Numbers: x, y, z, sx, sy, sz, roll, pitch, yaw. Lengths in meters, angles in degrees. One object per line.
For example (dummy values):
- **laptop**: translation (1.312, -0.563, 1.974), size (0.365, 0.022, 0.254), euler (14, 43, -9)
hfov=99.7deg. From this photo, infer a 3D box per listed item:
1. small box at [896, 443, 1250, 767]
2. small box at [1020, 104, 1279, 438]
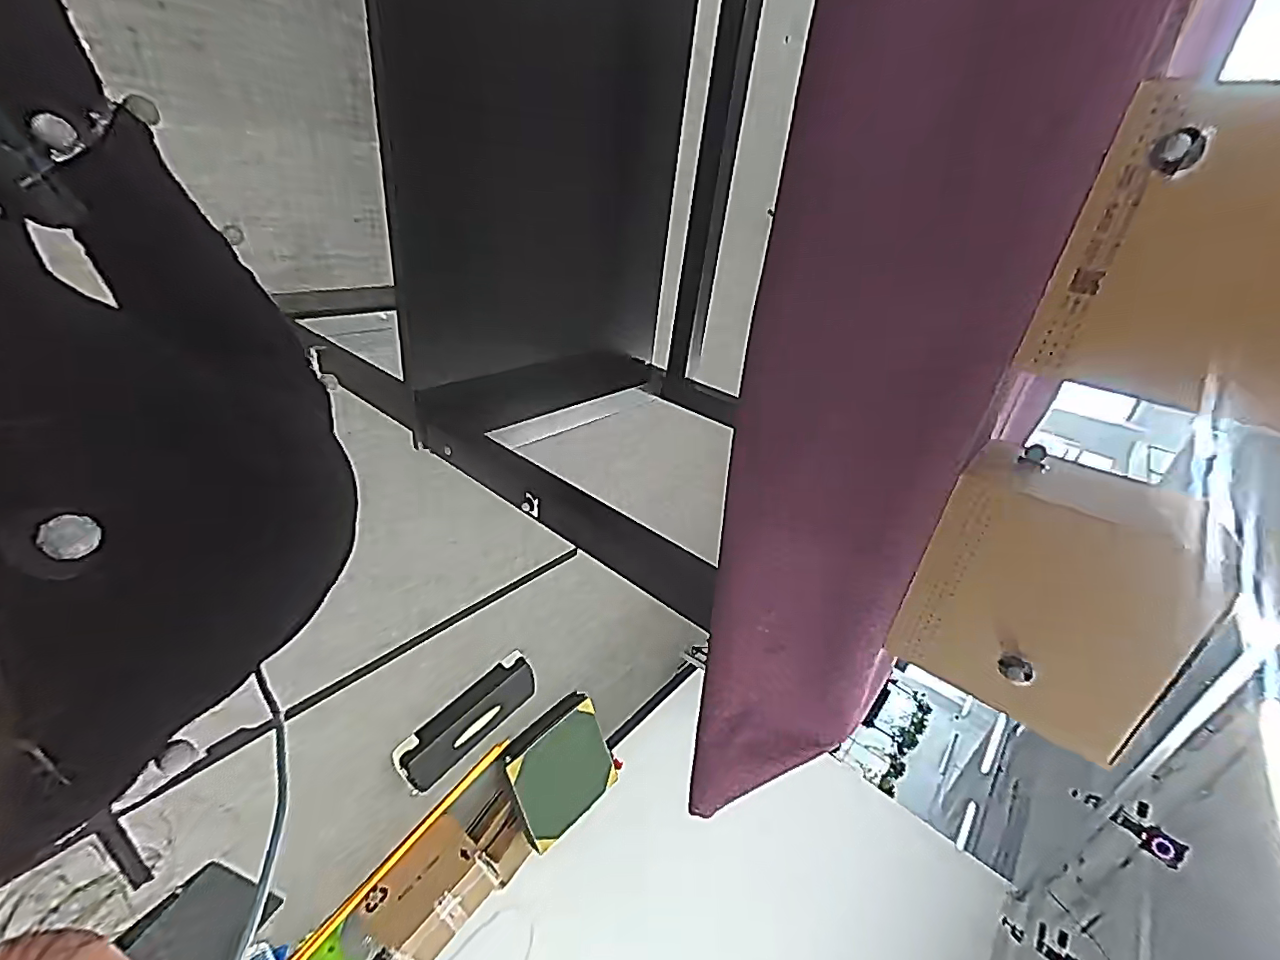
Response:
- **small box**: translation (0.340, 0.087, 0.462), size (0.168, 0.176, 0.179), euler (-21, 129, -49)
- **small box**: translation (0.382, -0.137, 0.358), size (0.179, 0.176, 0.168), euler (-26, 133, -46)
